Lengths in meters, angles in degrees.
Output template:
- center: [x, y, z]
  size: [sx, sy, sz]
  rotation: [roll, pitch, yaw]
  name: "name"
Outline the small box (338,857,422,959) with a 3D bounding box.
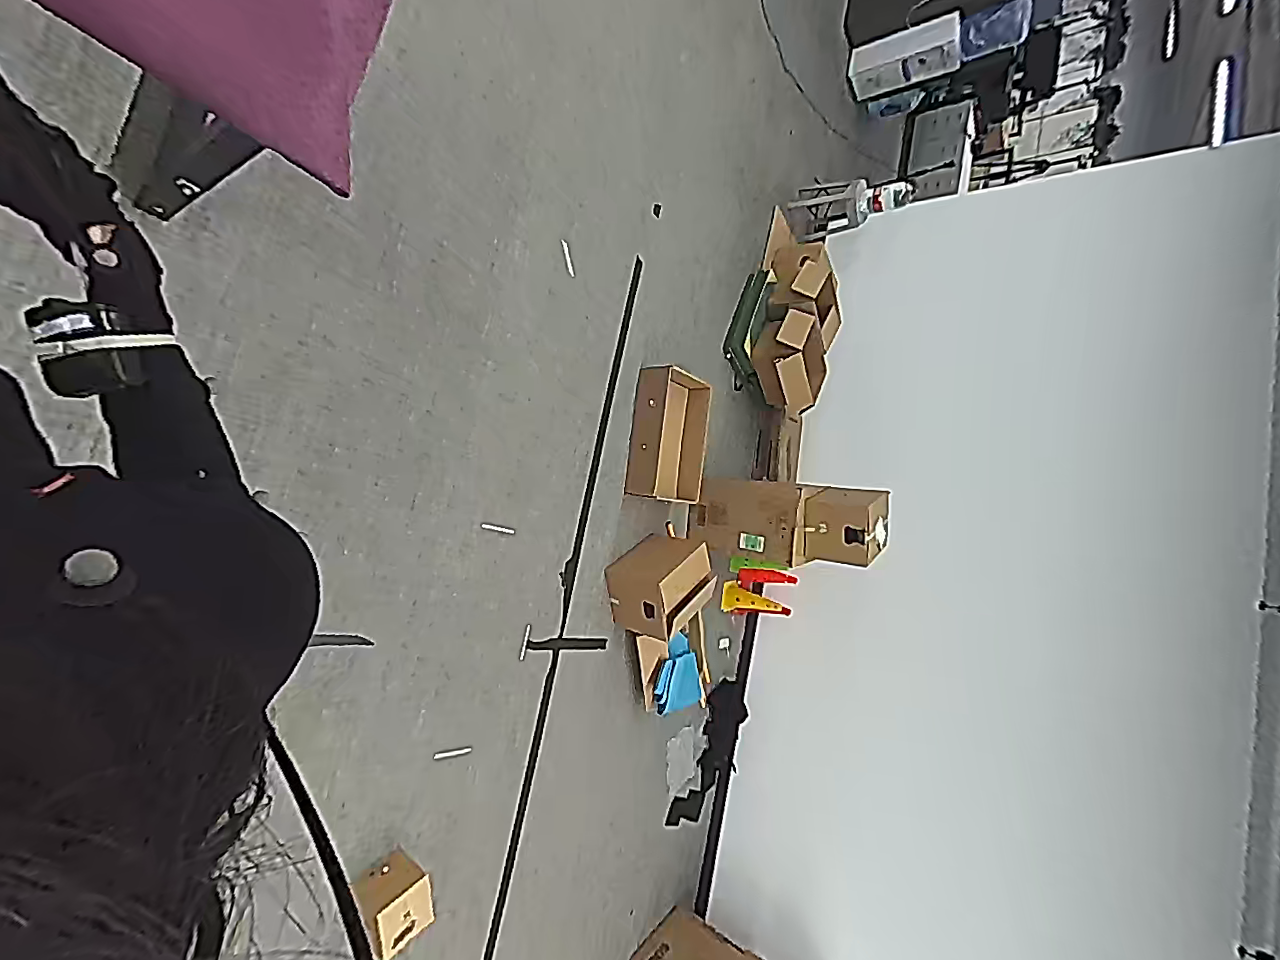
- center: [-0.791, 1.308, 1.645]
  size: [0.168, 0.176, 0.179]
  rotation: [-15, 106, -53]
  name: "small box"
